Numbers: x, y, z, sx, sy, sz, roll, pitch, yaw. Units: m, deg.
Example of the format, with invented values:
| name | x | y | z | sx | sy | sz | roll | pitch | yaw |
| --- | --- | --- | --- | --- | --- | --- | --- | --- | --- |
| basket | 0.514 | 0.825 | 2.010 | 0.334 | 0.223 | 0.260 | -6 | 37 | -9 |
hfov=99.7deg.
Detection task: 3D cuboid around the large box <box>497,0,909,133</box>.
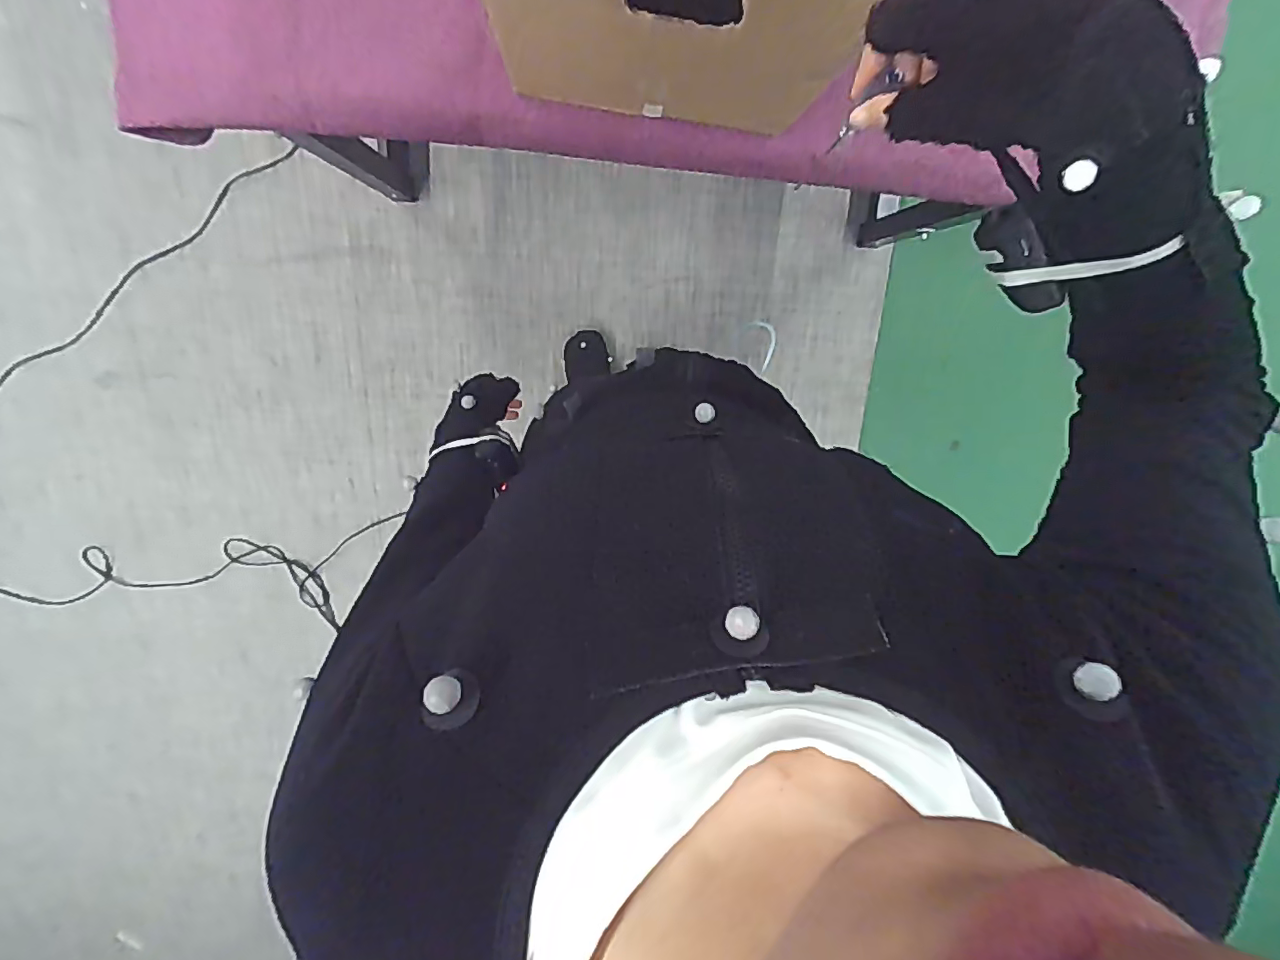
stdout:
| name | x | y | z | sx | sy | sz | roll | pitch | yaw |
| --- | --- | --- | --- | --- | --- | --- | --- | --- | --- |
| large box | 0.049 | -0.575 | 0.436 | 0.320 | 0.320 | 0.408 | 5 | 106 | -6 |
